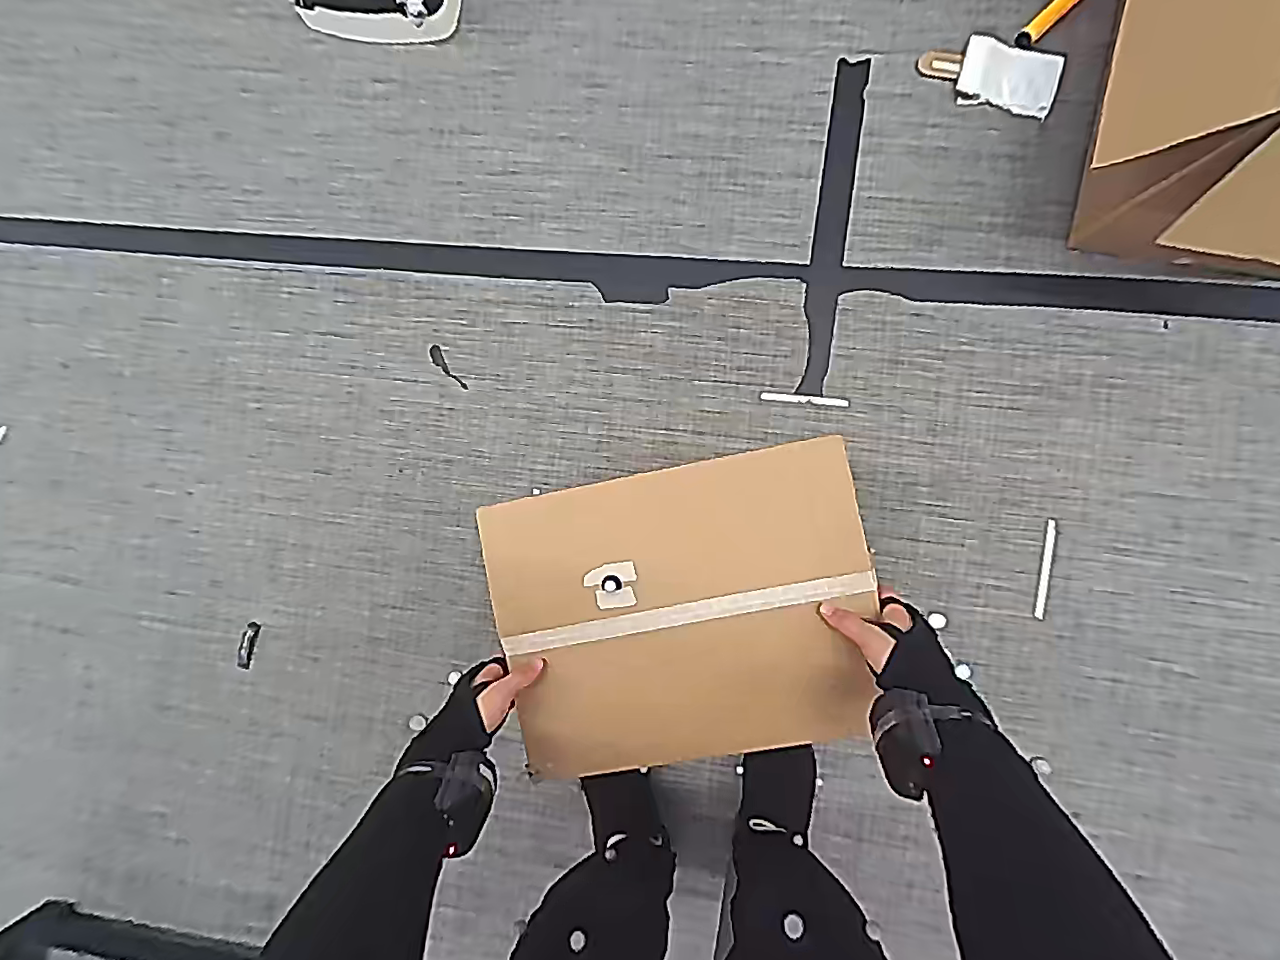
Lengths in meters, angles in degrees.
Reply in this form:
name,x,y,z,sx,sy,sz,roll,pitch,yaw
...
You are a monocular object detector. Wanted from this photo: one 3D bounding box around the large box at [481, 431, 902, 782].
name,x,y,z,sx,sy,sz,roll,pitch,yaw
large box,0.064,0.141,0.724,0.408,0.320,0.320,-13,87,7
